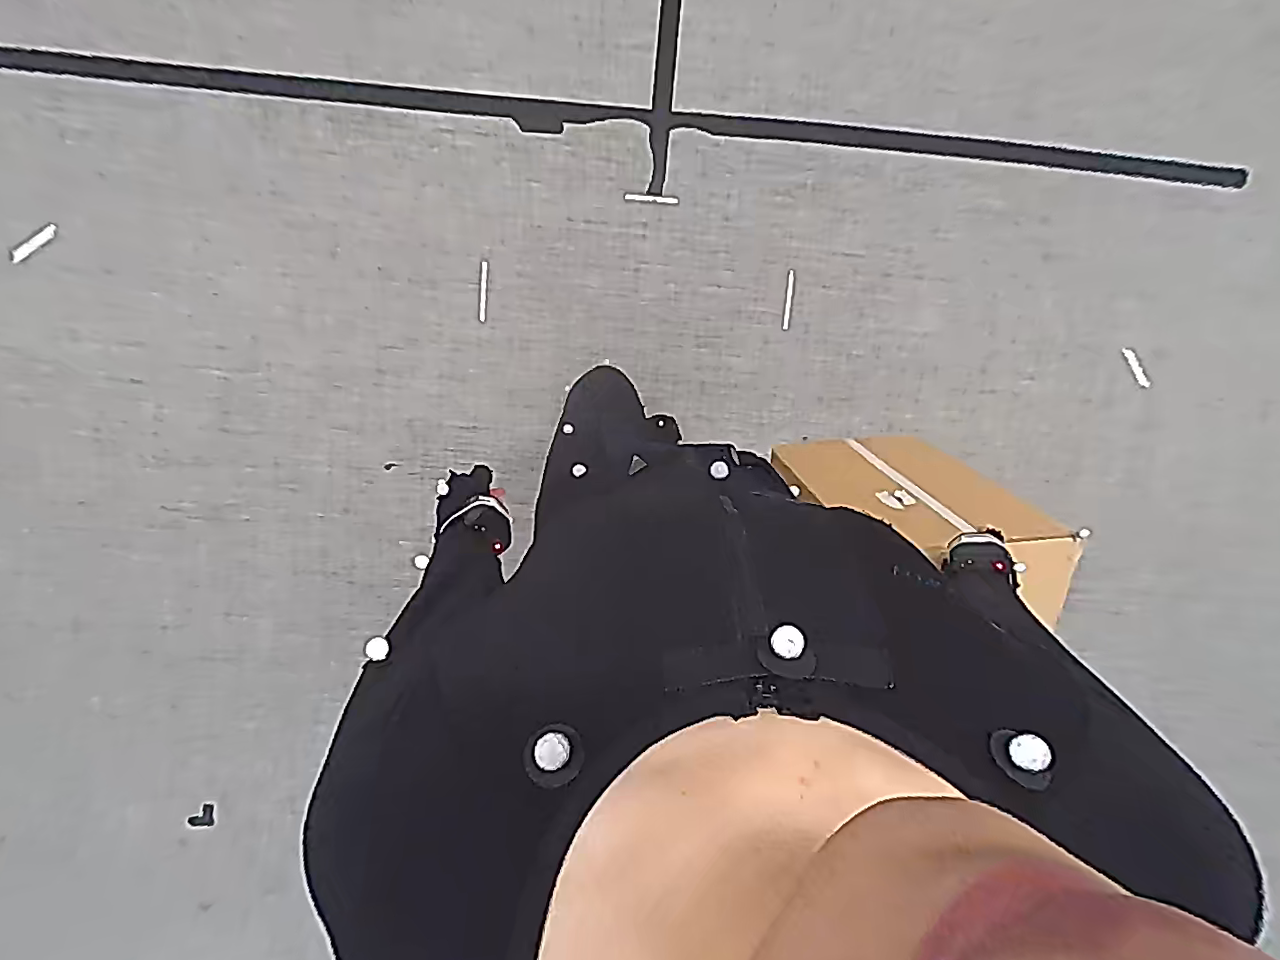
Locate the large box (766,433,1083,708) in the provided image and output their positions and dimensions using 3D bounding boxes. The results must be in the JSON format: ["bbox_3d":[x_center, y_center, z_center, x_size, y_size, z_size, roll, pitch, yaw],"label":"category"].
[{"bbox_3d":[0.453,0.135,0.987,0.320,0.408,0.320,-5,117,-5],"label":"large box"}]
